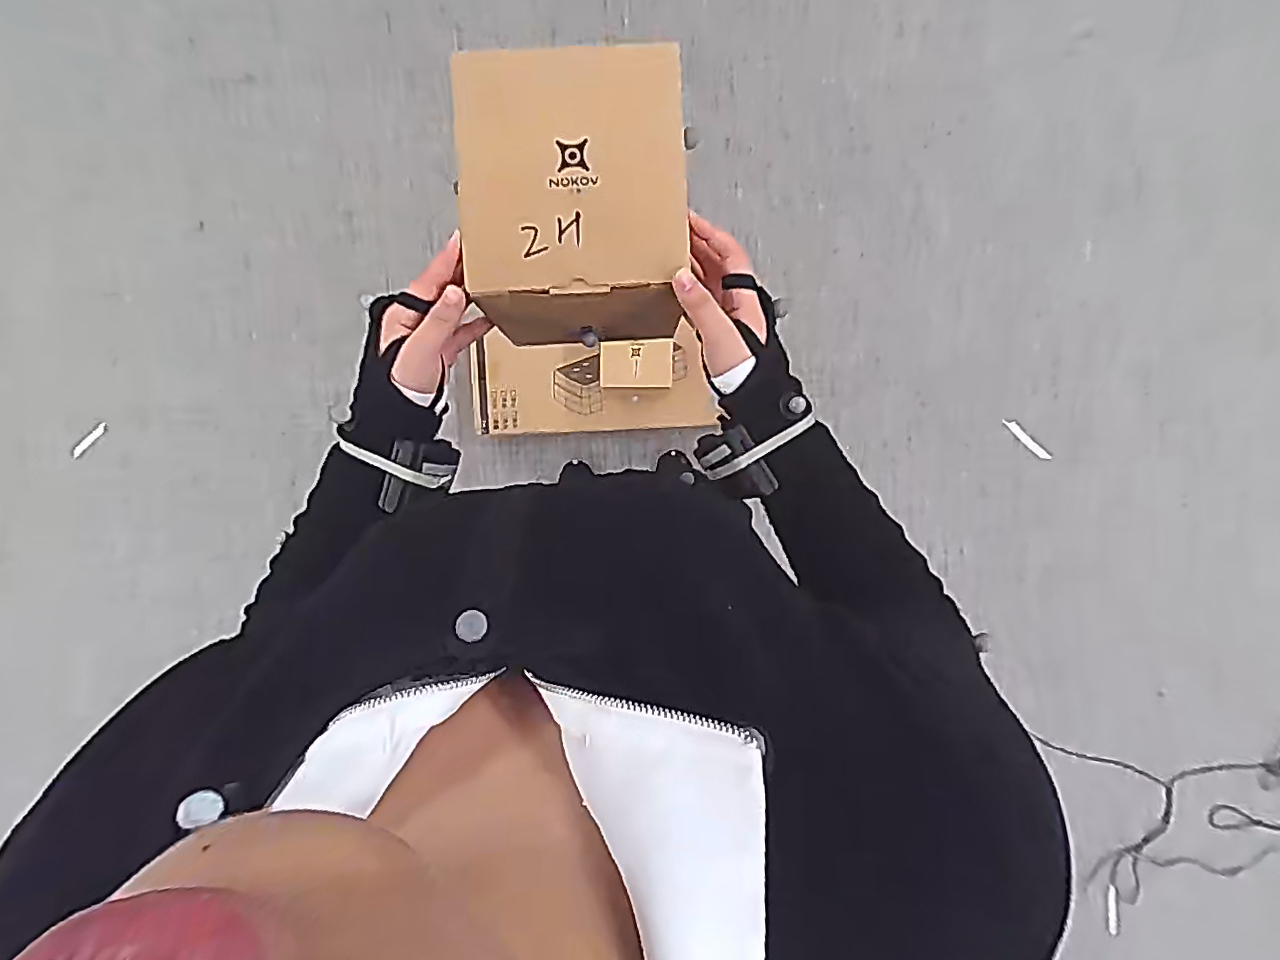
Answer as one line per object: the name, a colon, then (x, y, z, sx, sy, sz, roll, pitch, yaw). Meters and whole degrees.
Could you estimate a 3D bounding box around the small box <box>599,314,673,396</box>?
small box: (-0.009, -0.301, 1.304, 0.168, 0.176, 0.179, 1, 92, 1)

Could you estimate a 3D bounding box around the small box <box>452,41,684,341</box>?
small box: (-0.054, -0.230, 0.470, 0.168, 0.176, 0.179, -3, 92, -1)
